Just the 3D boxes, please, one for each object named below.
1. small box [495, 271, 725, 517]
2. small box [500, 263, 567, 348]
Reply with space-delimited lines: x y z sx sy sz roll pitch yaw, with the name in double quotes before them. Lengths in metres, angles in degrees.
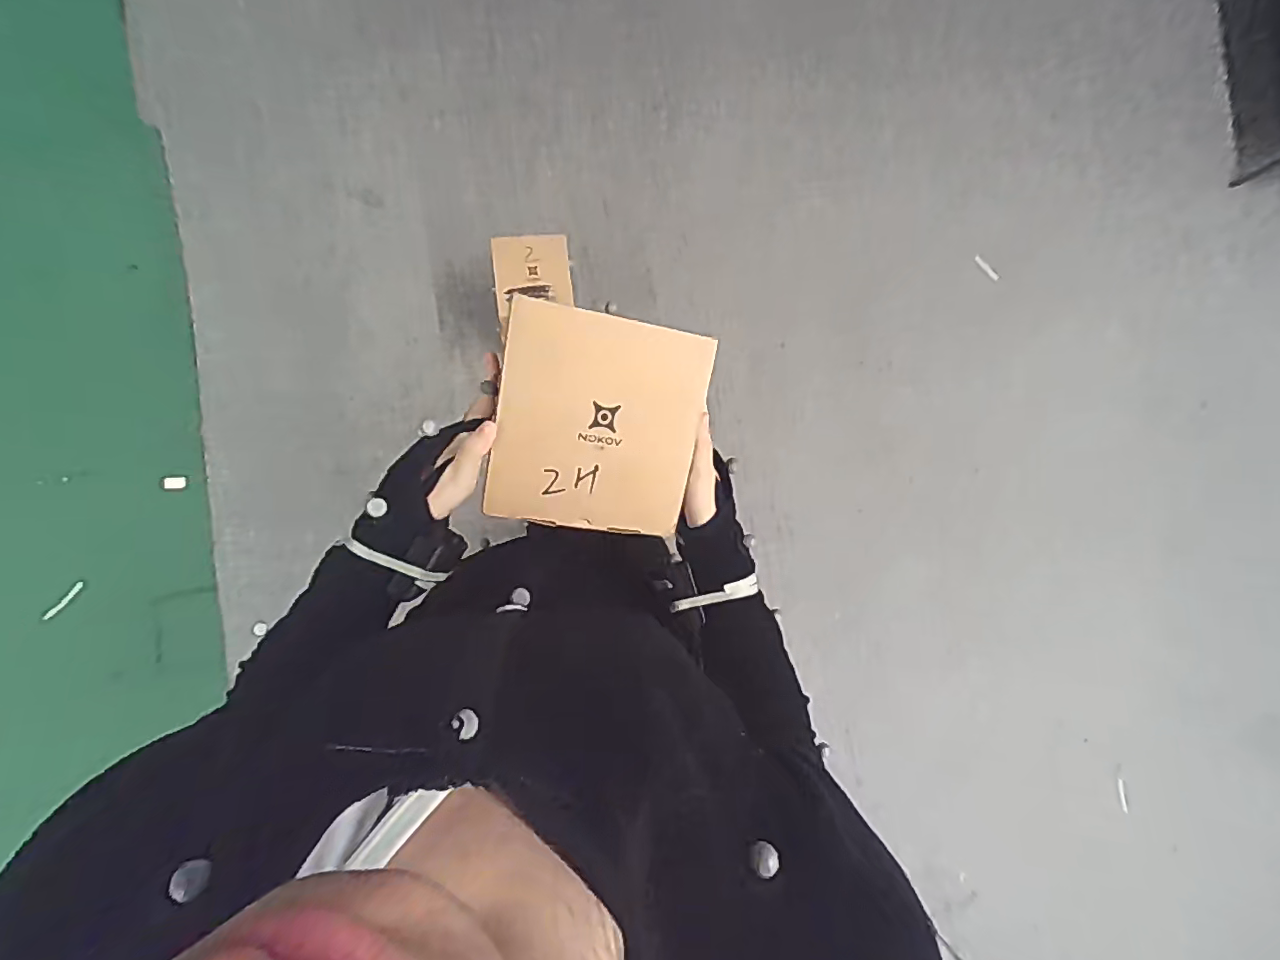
"small box" -0.042 -0.081 0.515 0.168 0.176 0.179 9 103 -15
"small box" -0.277 -0.448 1.416 0.168 0.176 0.179 -2 90 -9
